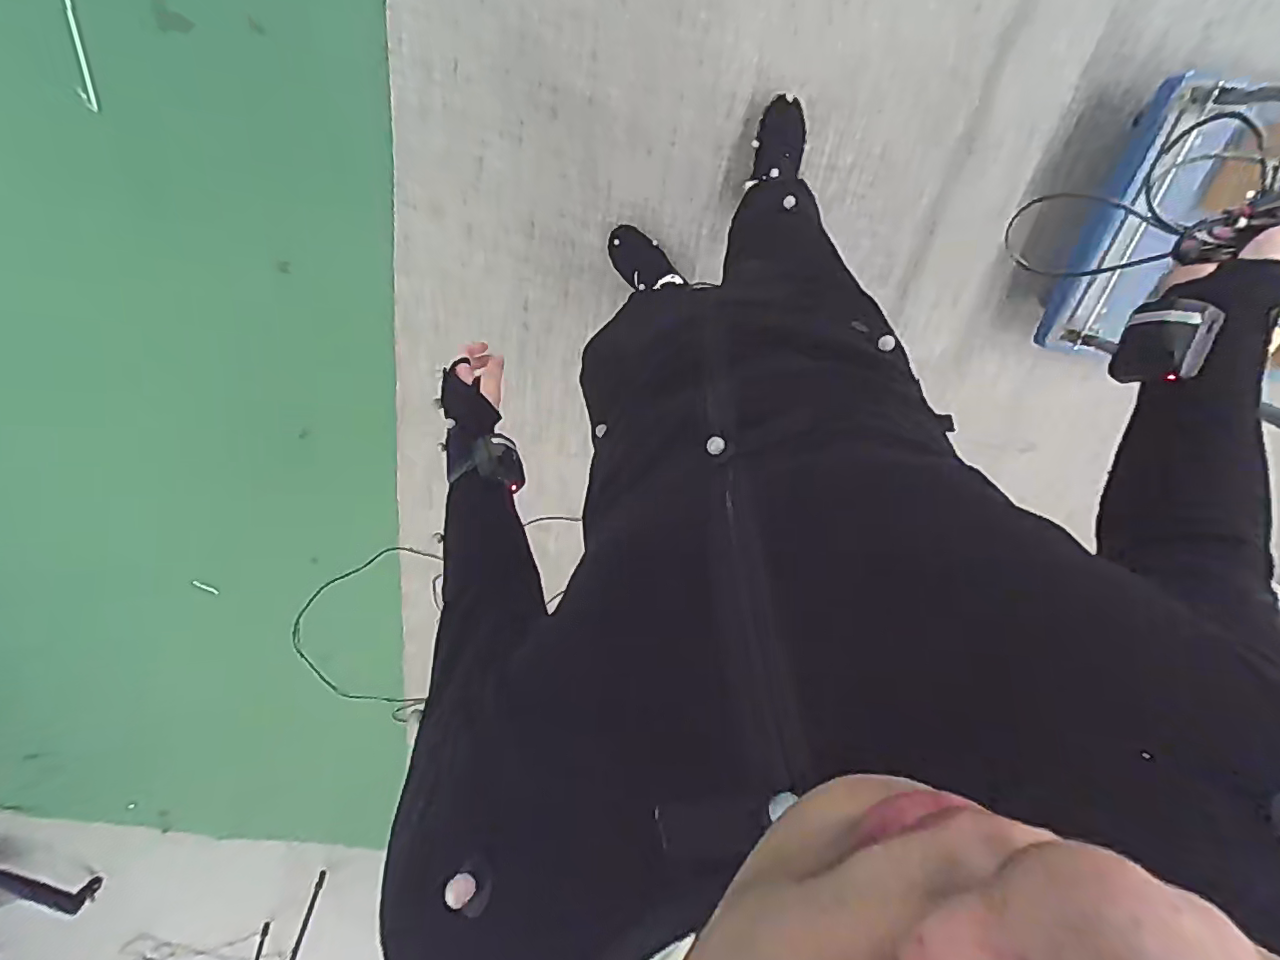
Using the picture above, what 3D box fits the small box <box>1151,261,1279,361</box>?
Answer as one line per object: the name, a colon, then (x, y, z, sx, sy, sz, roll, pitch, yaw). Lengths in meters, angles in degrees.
small box: (1.339, -0.385, 1.217, 0.179, 0.176, 0.168, 9, 120, -4)
